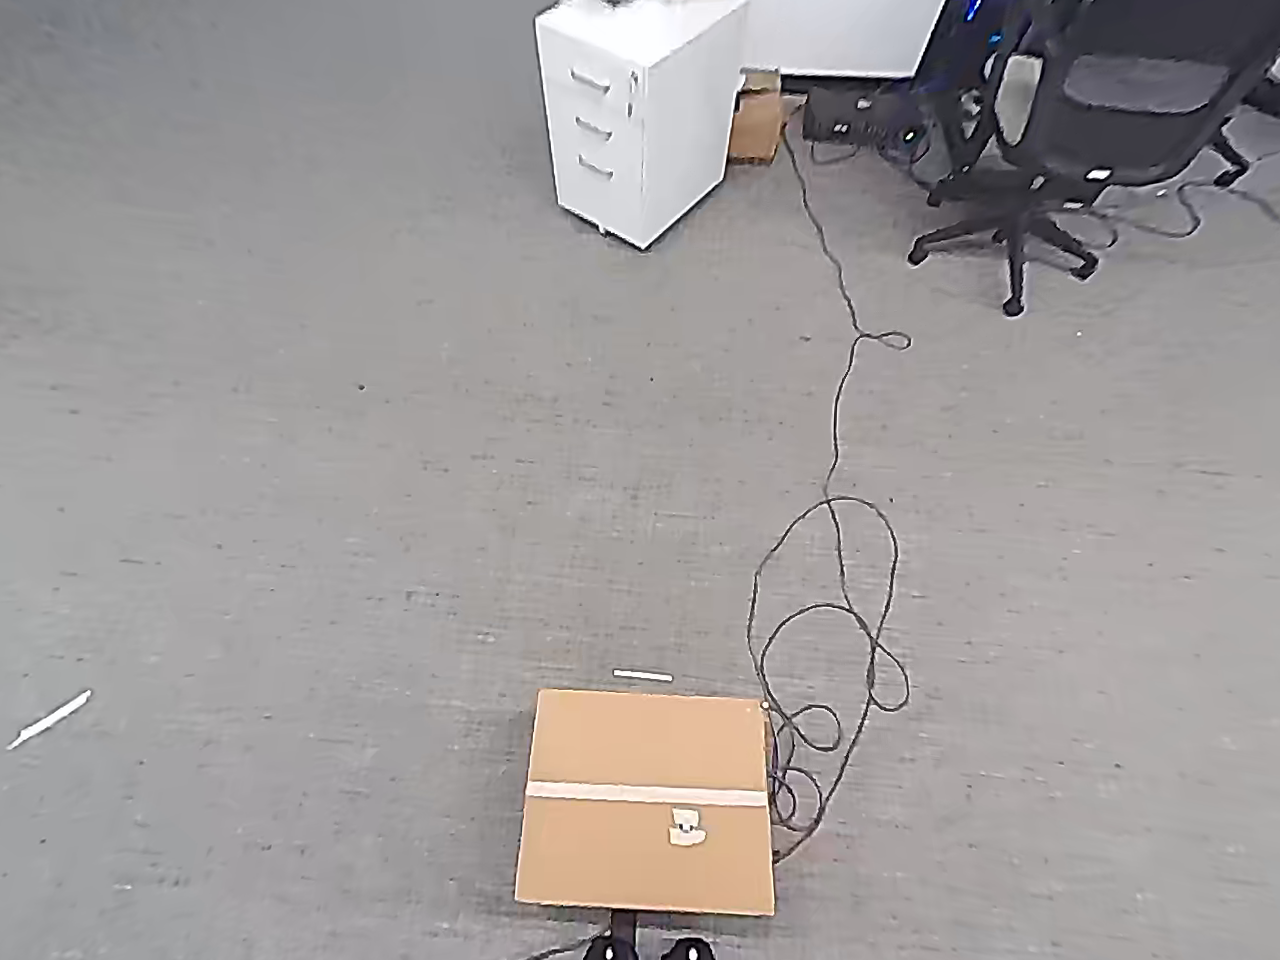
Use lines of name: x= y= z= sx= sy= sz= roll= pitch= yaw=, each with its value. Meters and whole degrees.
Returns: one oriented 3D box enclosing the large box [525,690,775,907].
large box: x=0.017 y=0.597 z=1.048 sx=0.408 sy=0.320 sz=0.320 roll=3 pitch=63 yaw=1
